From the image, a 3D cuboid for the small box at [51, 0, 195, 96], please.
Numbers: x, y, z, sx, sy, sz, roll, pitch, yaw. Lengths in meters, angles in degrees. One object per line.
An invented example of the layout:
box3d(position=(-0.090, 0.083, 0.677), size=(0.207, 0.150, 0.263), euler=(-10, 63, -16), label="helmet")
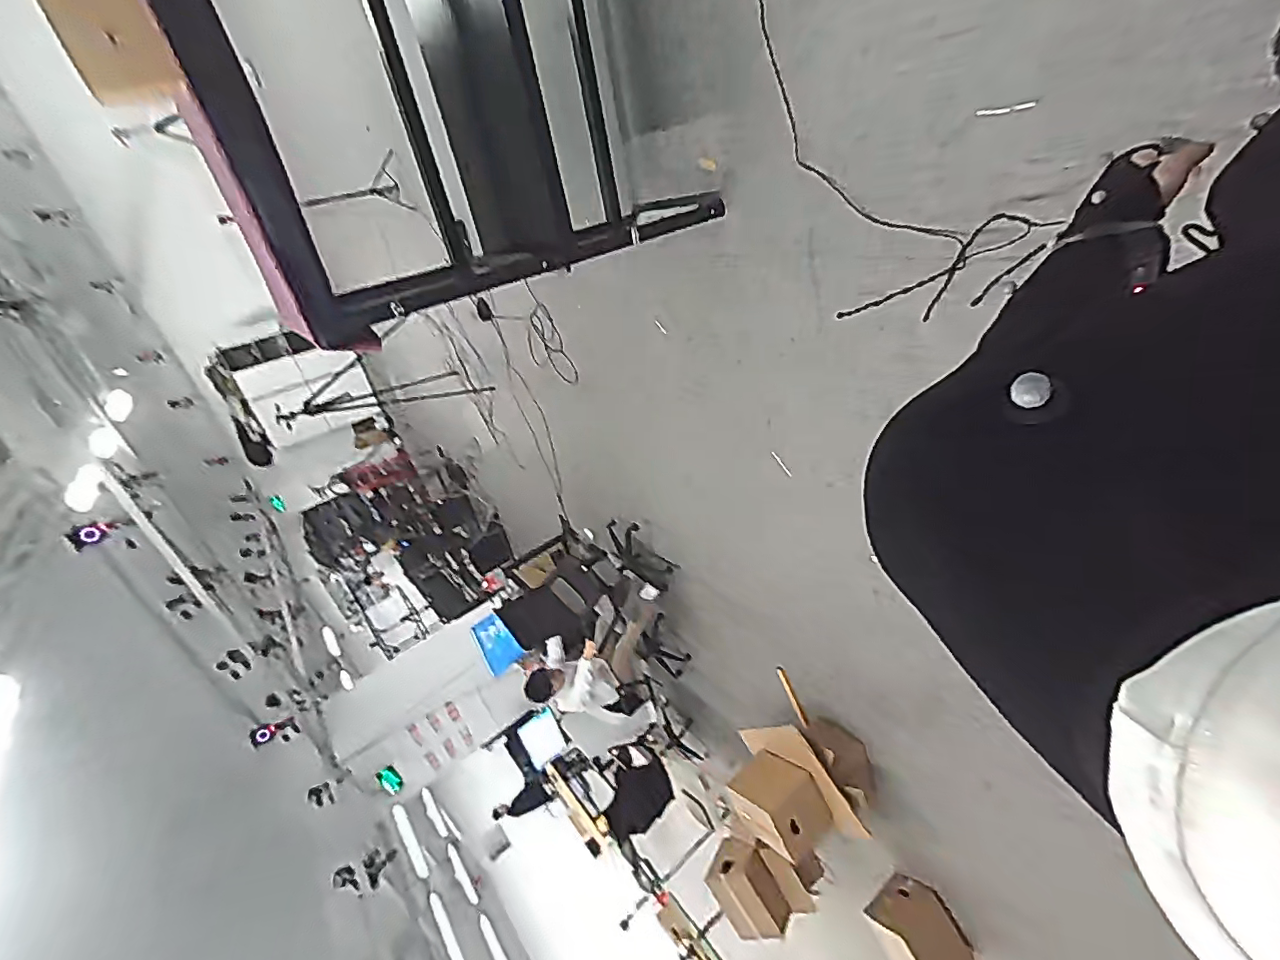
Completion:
box3d(position=(-1.053, -0.909, 1.102), size=(0.168, 0.176, 0.179), euler=(29, 140, 47), label="small box")
